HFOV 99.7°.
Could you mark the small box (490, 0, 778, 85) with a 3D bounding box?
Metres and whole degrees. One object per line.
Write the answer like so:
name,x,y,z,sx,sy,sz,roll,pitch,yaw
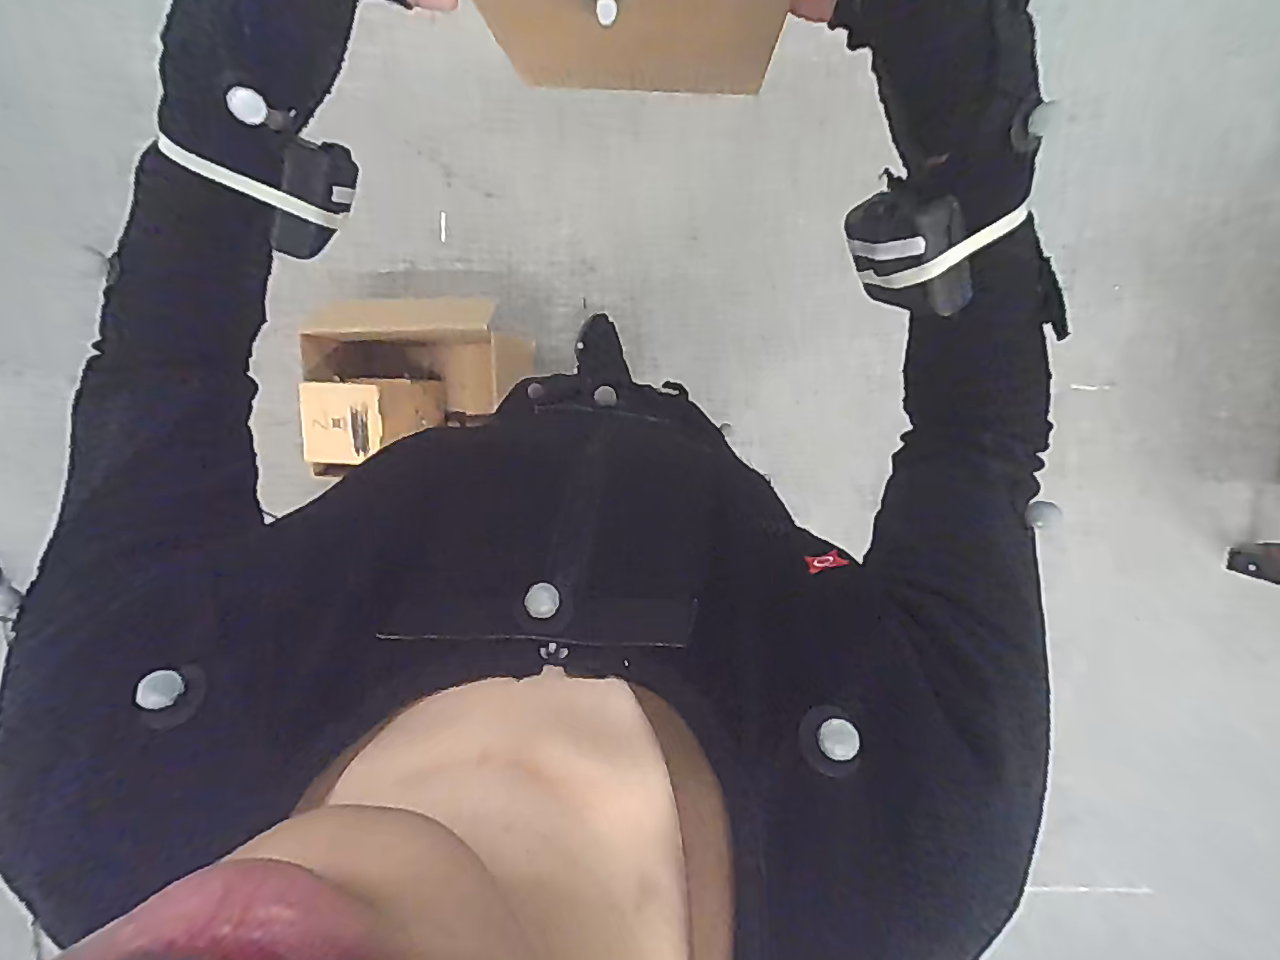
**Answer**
small box,-0.001,-0.346,0.295,0.179,0.176,0.168,4,106,2
